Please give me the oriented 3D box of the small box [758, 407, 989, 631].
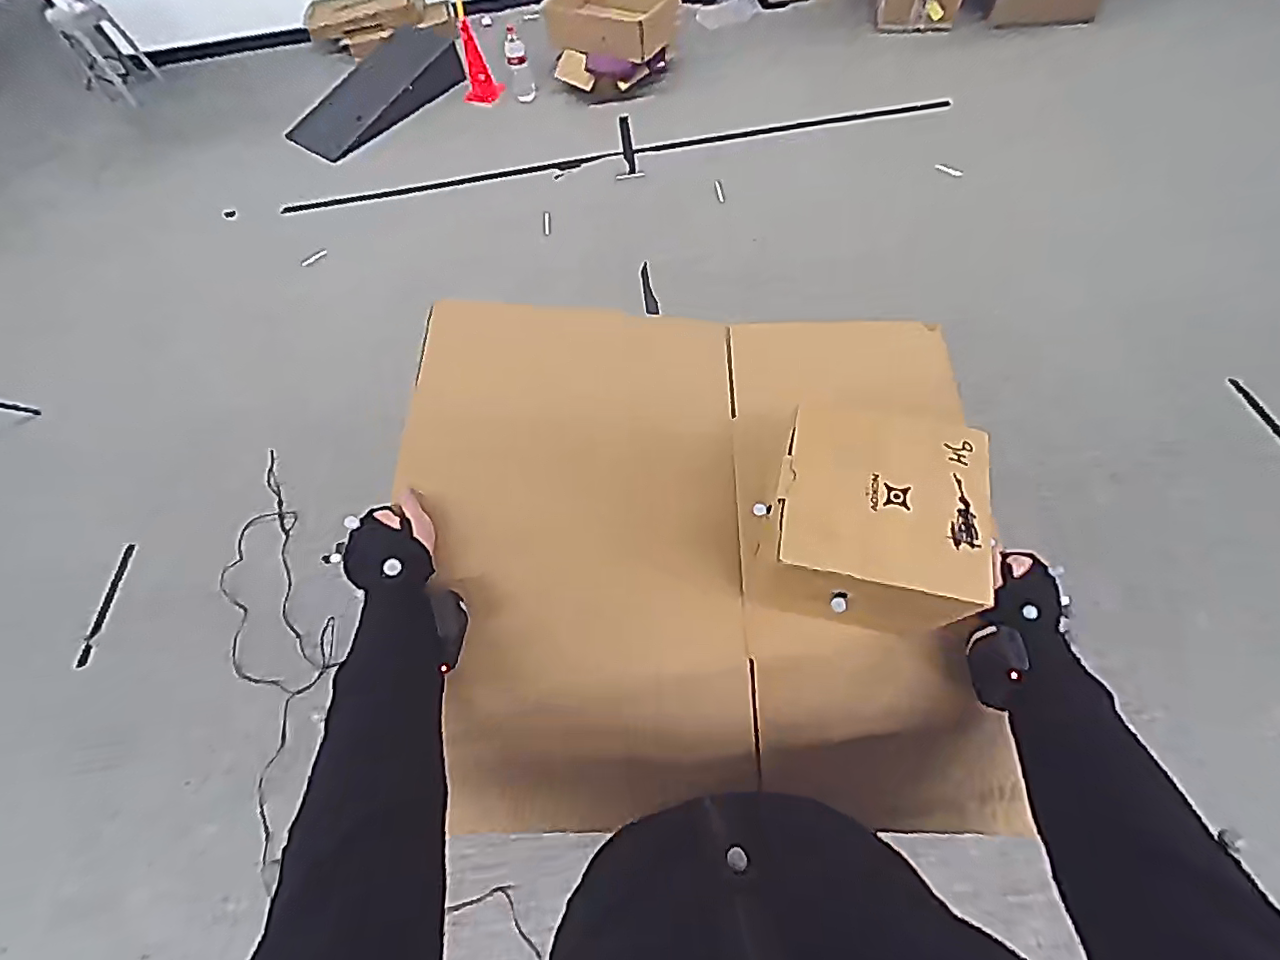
[{"bbox_3d":[0.225,0.049,0.558,0.179,0.176,0.168,11,67,9],"label":"small box"}]
